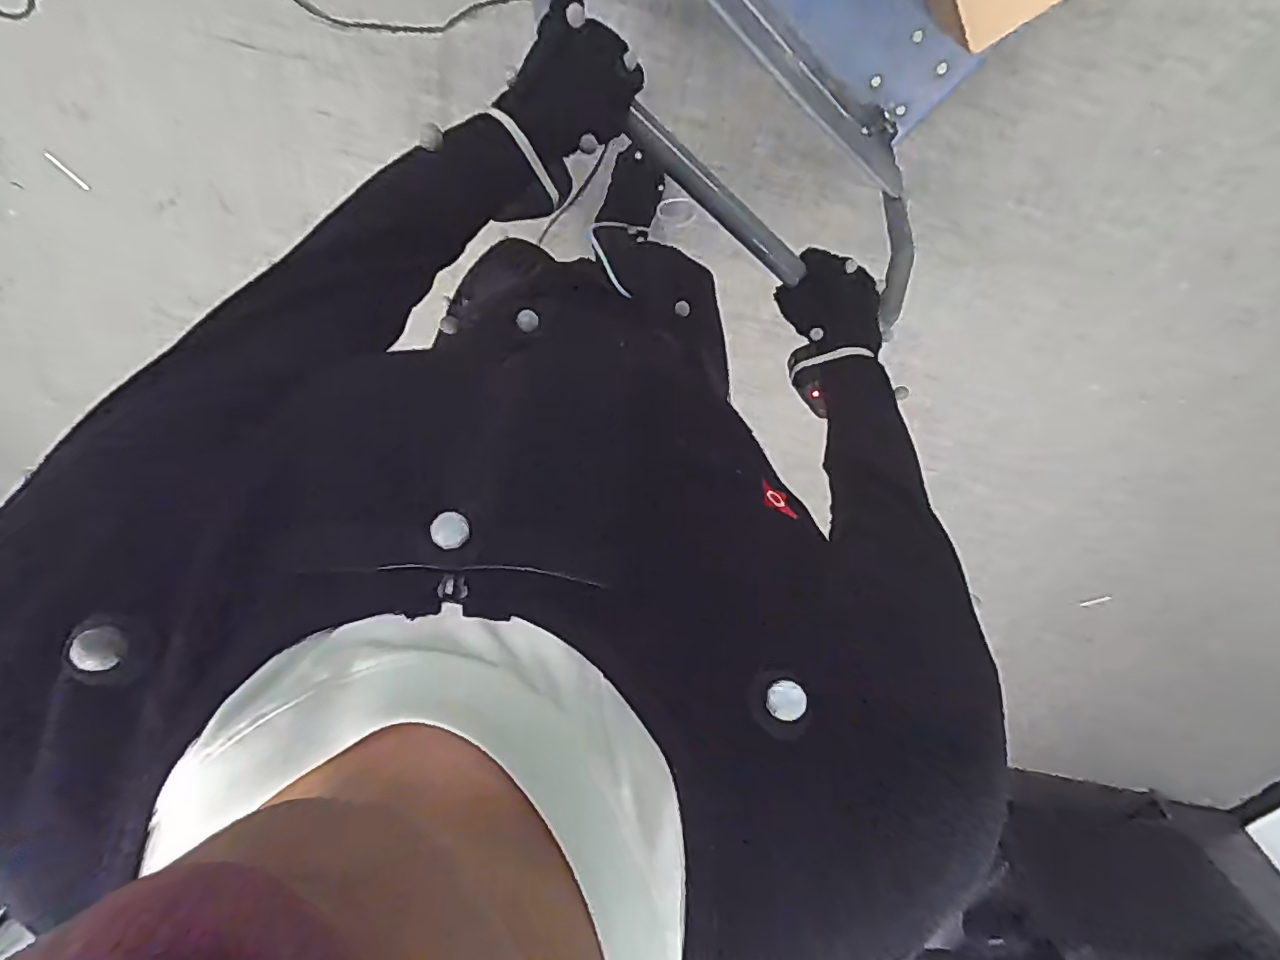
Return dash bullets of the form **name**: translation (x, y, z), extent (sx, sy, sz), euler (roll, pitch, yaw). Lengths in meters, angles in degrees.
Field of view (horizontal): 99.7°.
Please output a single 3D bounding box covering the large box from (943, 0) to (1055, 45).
- **large box**: translation (0.472, -0.828, 0.613), extent (0.320, 0.320, 0.408), euler (-20, 125, 34)
